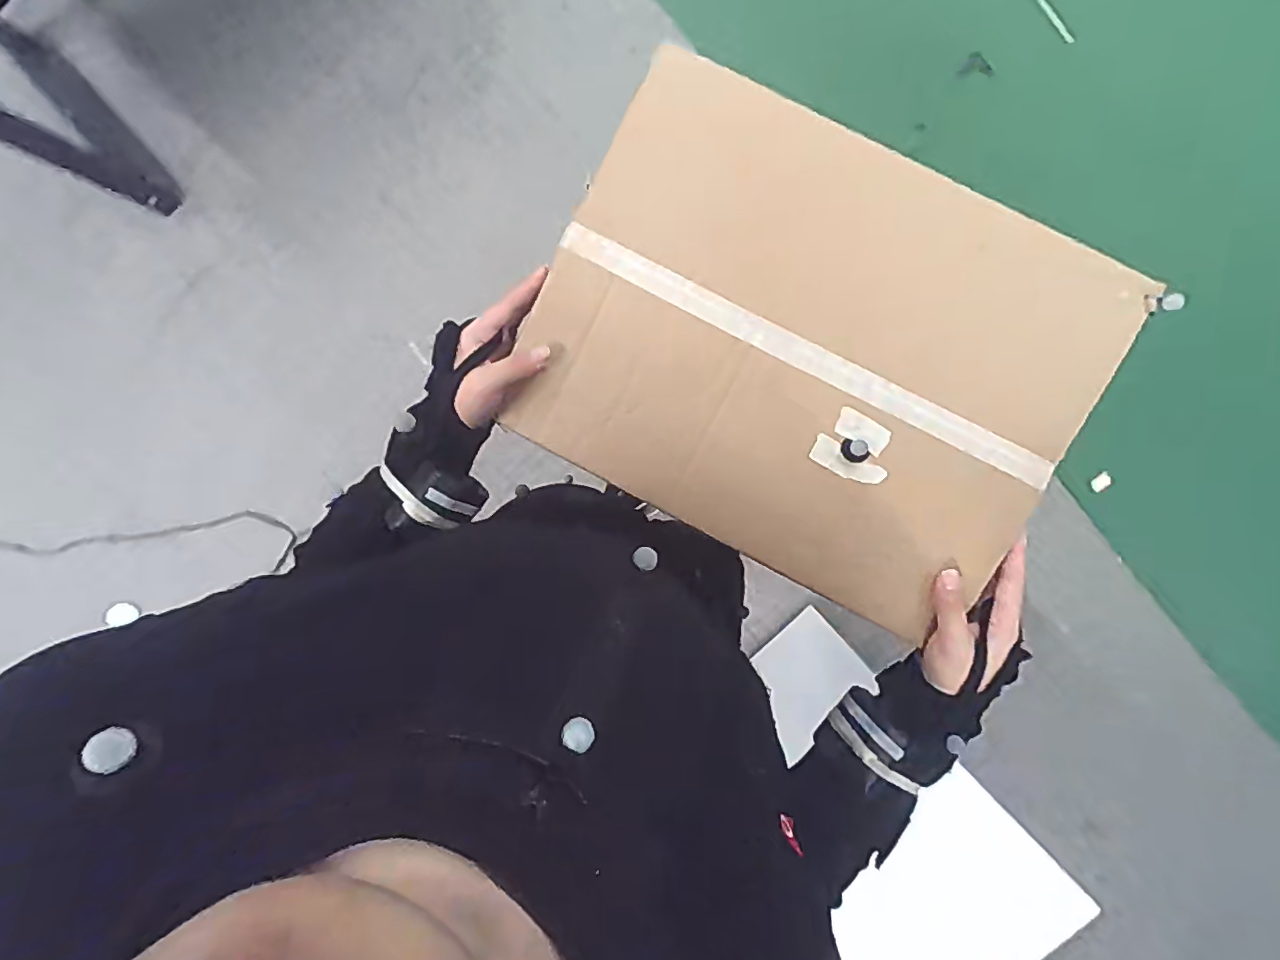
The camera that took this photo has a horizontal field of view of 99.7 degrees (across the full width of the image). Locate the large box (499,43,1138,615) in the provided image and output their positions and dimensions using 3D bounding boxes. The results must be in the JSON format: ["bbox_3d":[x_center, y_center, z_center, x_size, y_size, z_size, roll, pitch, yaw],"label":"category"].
[{"bbox_3d":[0.134,-0.123,0.565,0.408,0.320,0.320,27,97,1],"label":"large box"}]
